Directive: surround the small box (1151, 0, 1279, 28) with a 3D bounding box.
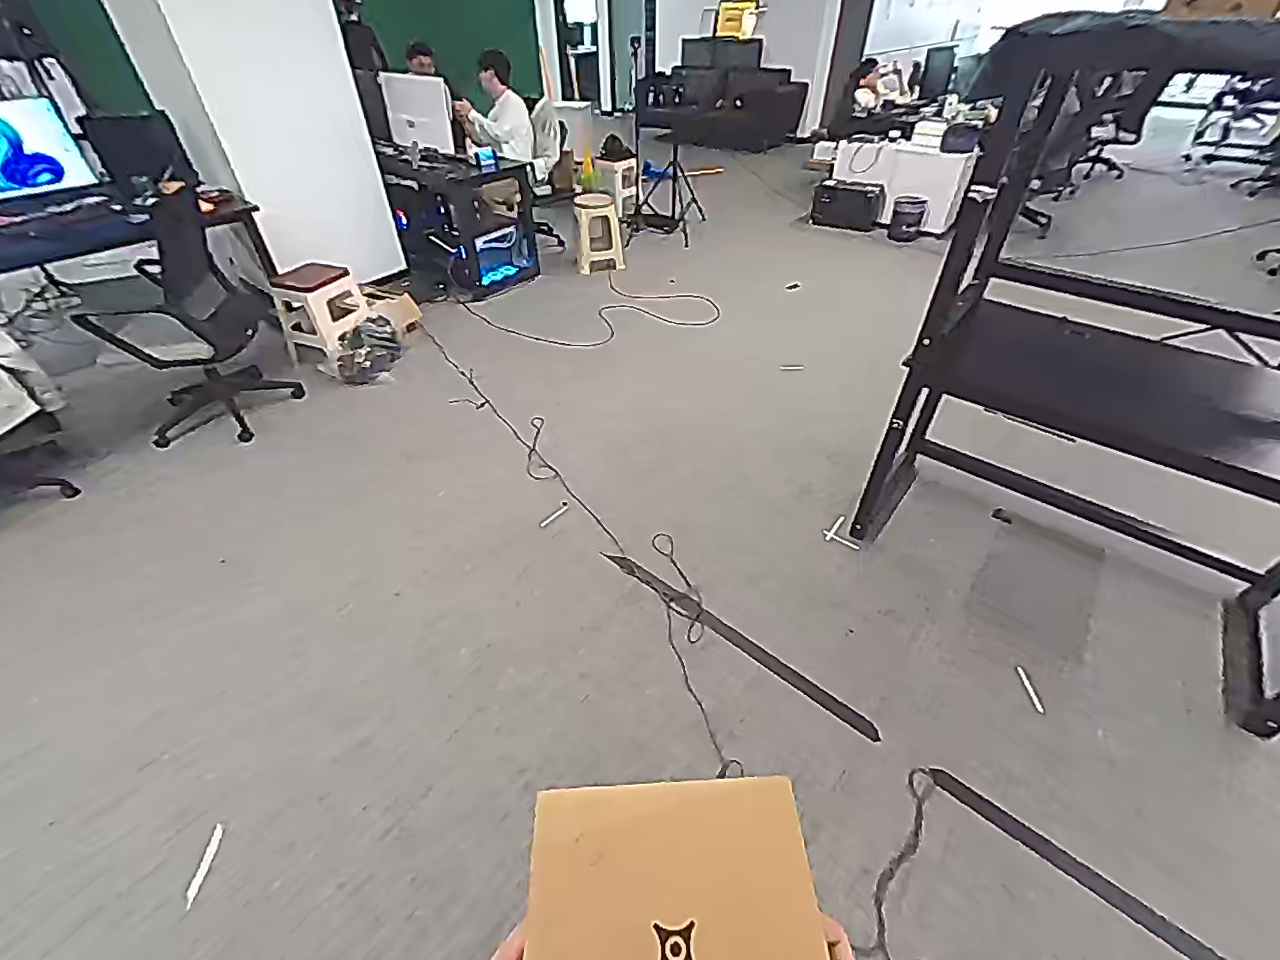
[{"bbox_3d":[1.043,-0.902,0.943,0.168,0.176,0.179,27,46,26],"label":"small box"}]

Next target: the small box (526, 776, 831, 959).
[{"bbox_3d":[0.021,0.314,0.343,0.168,0.176,0.179,-4,44,-1],"label":"small box"}]
